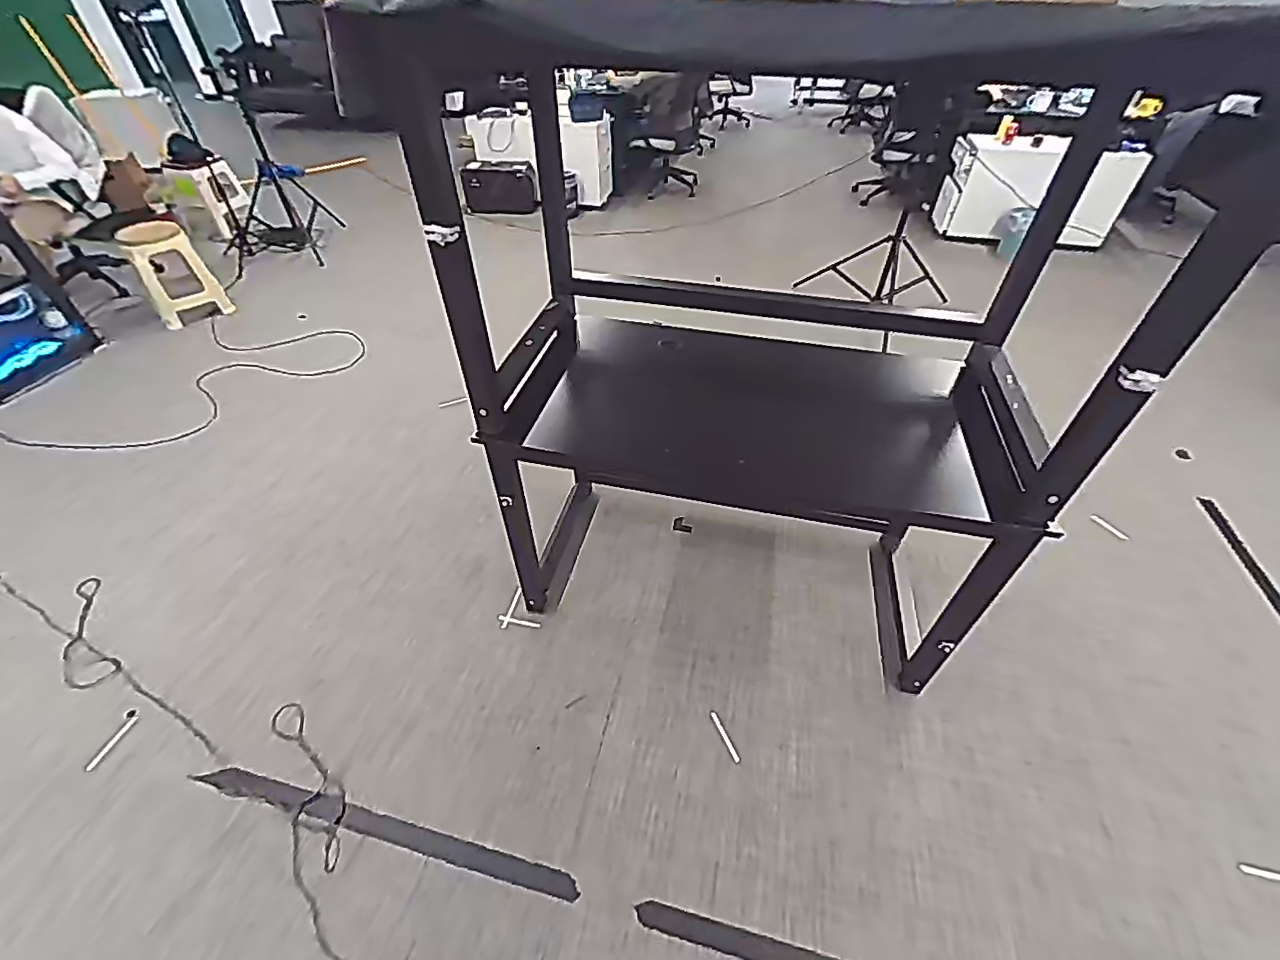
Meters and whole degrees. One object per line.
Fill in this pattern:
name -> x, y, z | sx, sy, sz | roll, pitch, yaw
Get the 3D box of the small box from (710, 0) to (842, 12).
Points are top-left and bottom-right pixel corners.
small box -> 0.180, -0.688, 0.659 | 0.168, 0.176, 0.179 | 9, 43, 9

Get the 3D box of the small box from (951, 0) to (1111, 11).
small box -> 0.471, -0.646, 0.613 | 0.168, 0.176, 0.179 | 15, 45, 15
